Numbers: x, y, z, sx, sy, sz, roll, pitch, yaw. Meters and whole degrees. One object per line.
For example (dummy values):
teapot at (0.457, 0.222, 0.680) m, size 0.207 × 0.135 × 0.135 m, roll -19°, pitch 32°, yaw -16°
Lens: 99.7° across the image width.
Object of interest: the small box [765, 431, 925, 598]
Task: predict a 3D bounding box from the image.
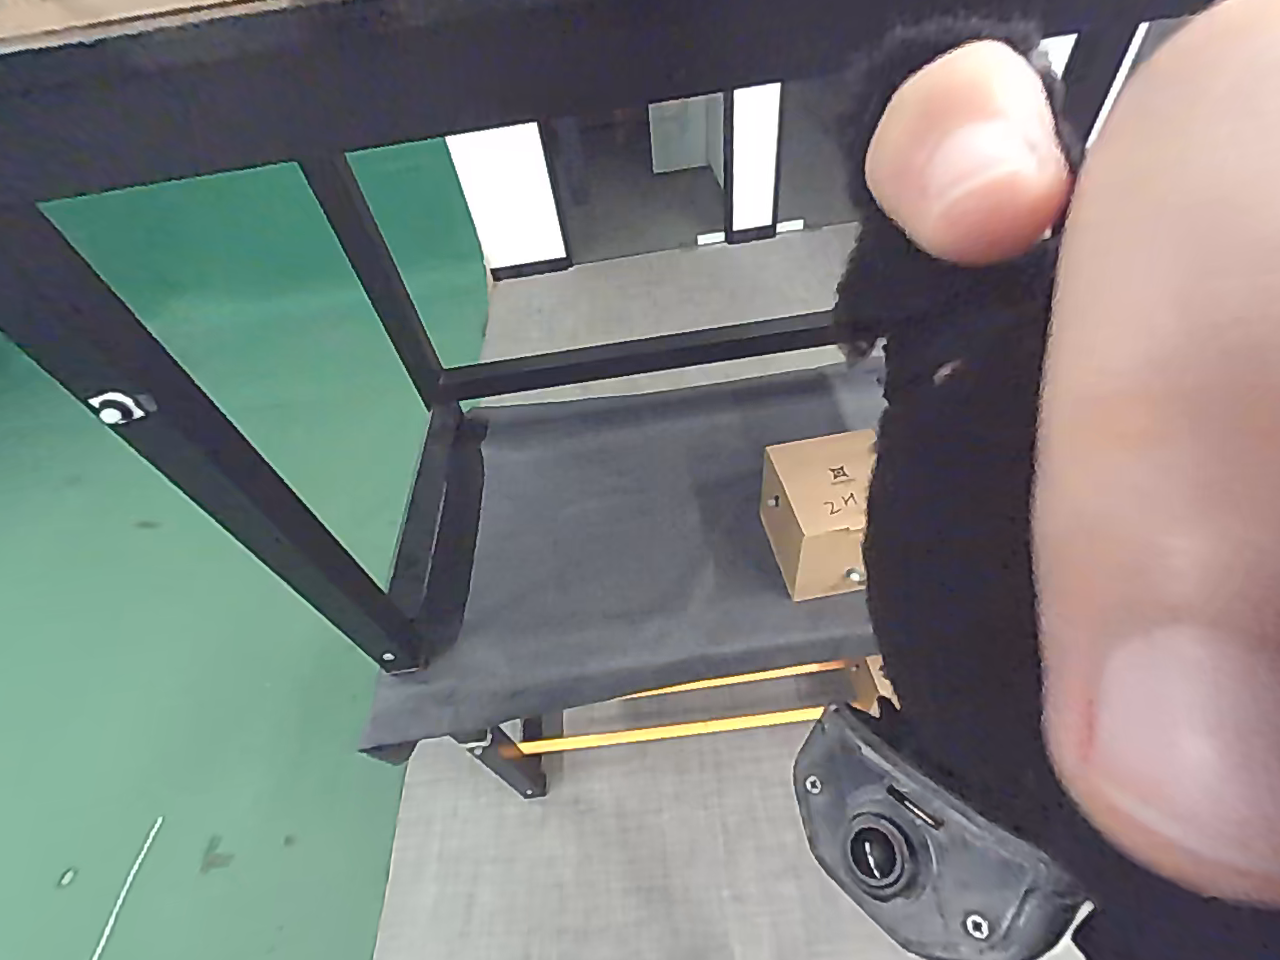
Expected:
small box at (0.295, 0.054, 0.825) m, size 0.168 × 0.176 × 0.179 m, roll -10°, pitch 46°, yaw 0°
